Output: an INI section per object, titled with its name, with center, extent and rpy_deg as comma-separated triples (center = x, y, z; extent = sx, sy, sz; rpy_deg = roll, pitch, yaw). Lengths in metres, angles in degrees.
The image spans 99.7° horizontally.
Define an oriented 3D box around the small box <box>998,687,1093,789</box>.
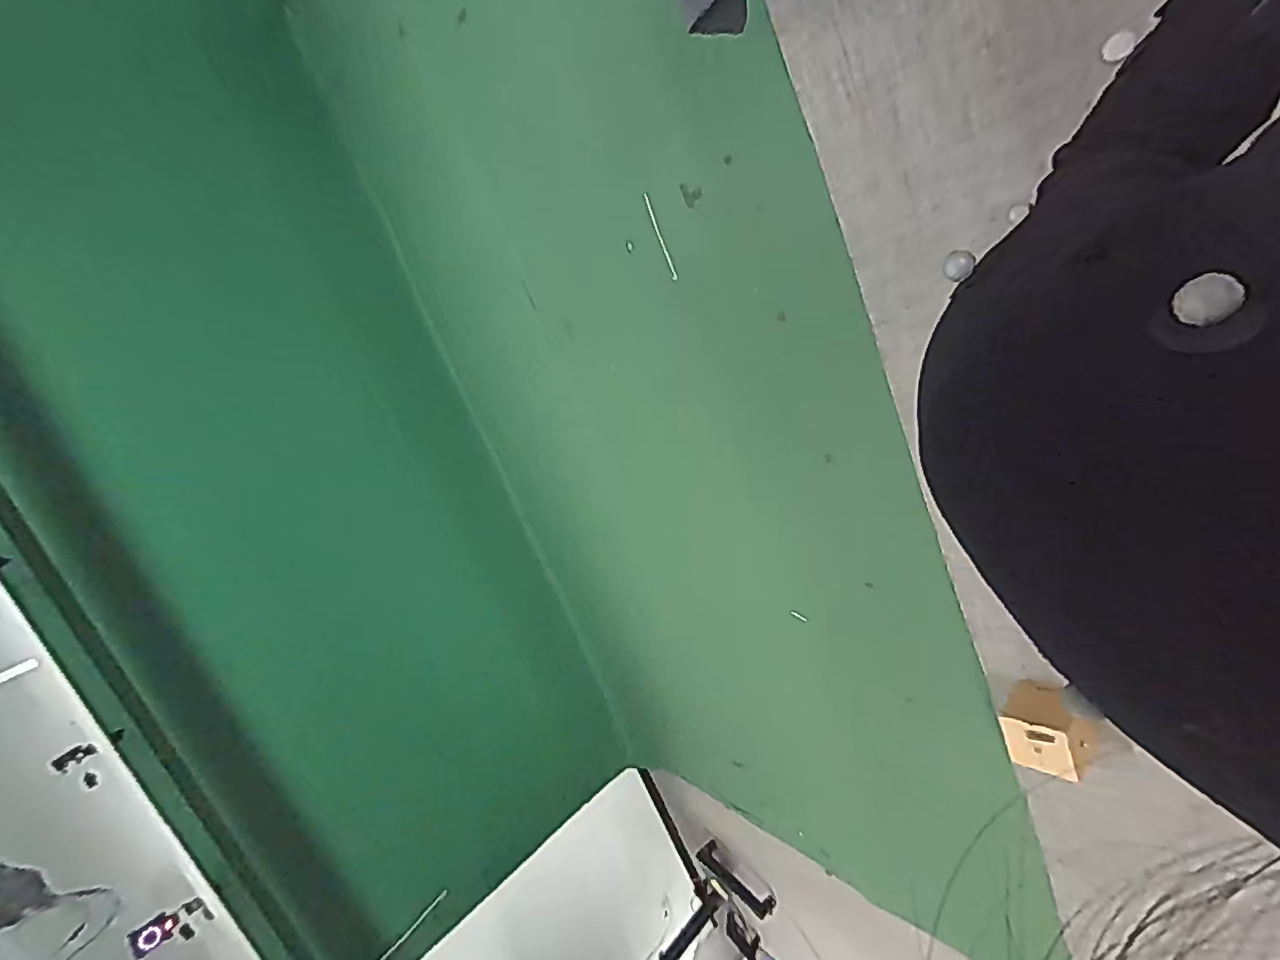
[small box]
center = 1.172, 0.733, 1.560
extent = 0.168, 0.176, 0.179
rpy_deg = -5, 111, 55
